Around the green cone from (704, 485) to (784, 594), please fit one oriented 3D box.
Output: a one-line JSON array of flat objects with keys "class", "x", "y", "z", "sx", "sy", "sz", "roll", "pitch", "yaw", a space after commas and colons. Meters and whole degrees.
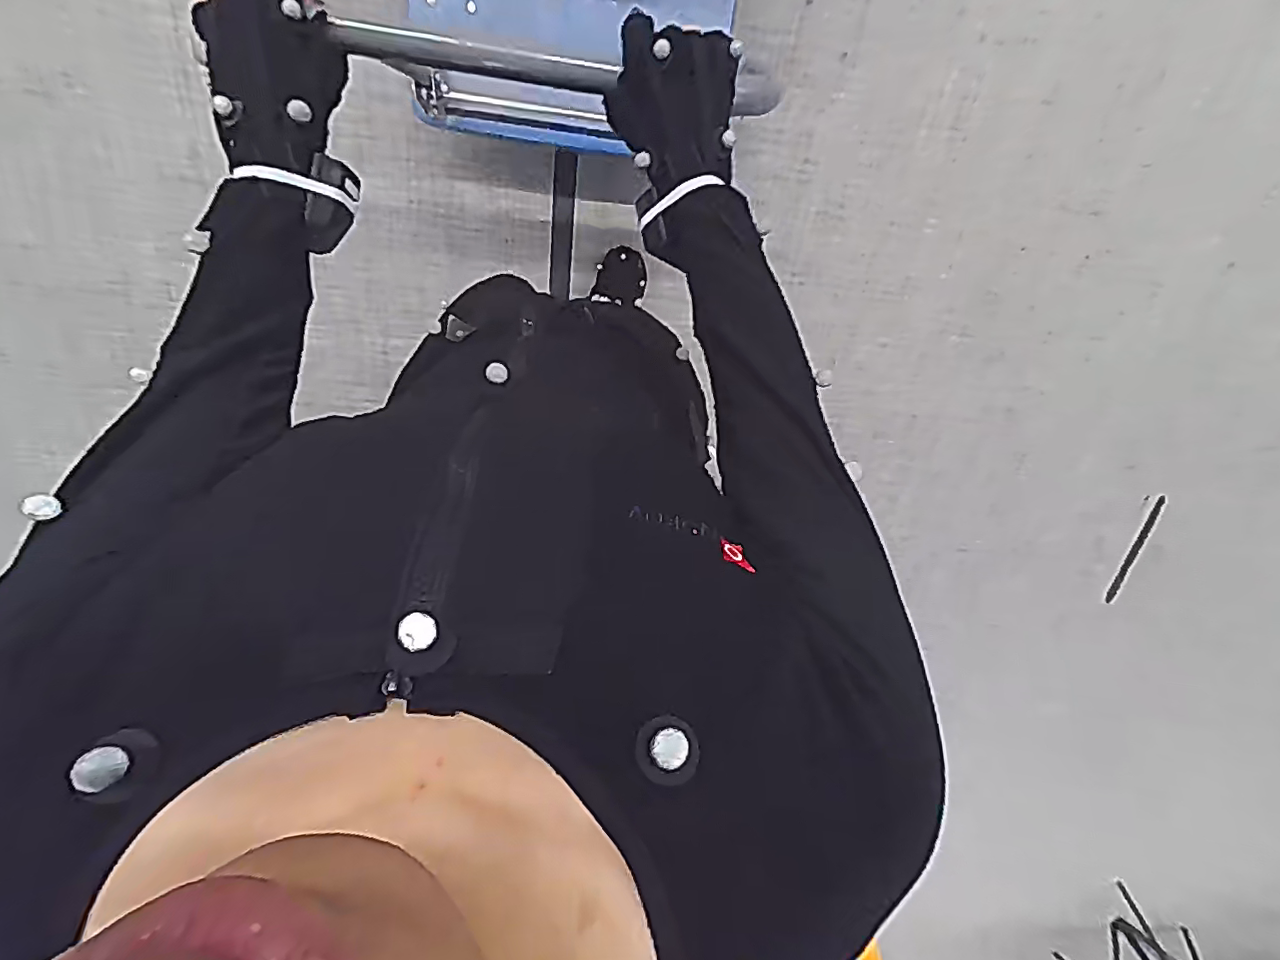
[{"class": "green cone", "x": 0.312, "y": 0.185, "z": 1.459, "sx": 0.202, "sy": 0.368, "sz": 0.200, "roll": 8, "pitch": 115, "yaw": -7}]
